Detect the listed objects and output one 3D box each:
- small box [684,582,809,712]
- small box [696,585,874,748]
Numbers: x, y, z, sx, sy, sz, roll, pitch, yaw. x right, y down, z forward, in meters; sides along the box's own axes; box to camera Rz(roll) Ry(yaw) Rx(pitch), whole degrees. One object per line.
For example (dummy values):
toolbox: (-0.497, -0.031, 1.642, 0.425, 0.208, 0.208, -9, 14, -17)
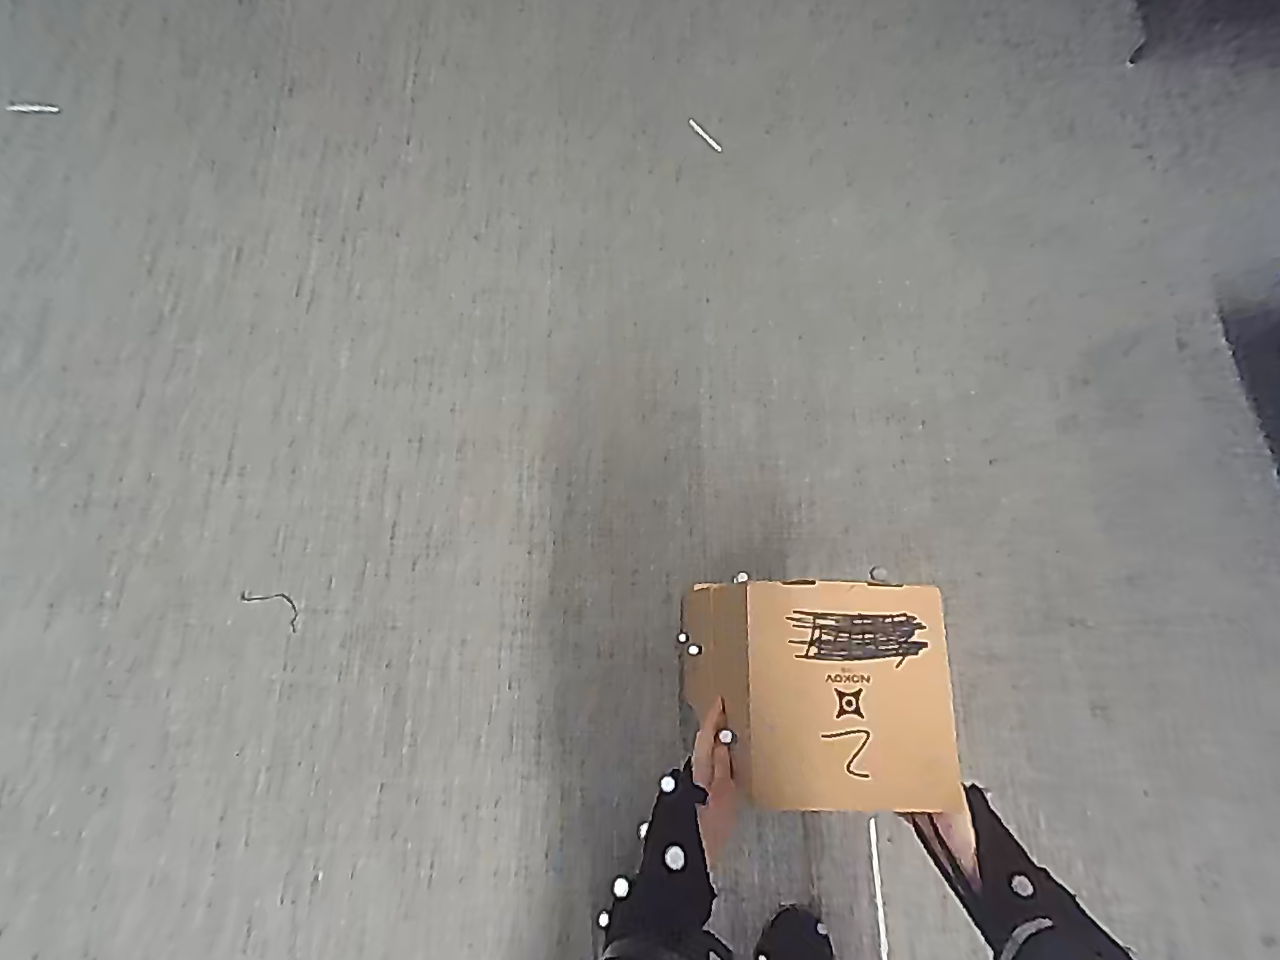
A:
small box: (0.159, 0.250, 0.829, 0.168, 0.176, 0.179, 1, 76, -1)
small box: (0.164, 0.219, 0.668, 0.179, 0.176, 0.168, 2, 78, -1)
